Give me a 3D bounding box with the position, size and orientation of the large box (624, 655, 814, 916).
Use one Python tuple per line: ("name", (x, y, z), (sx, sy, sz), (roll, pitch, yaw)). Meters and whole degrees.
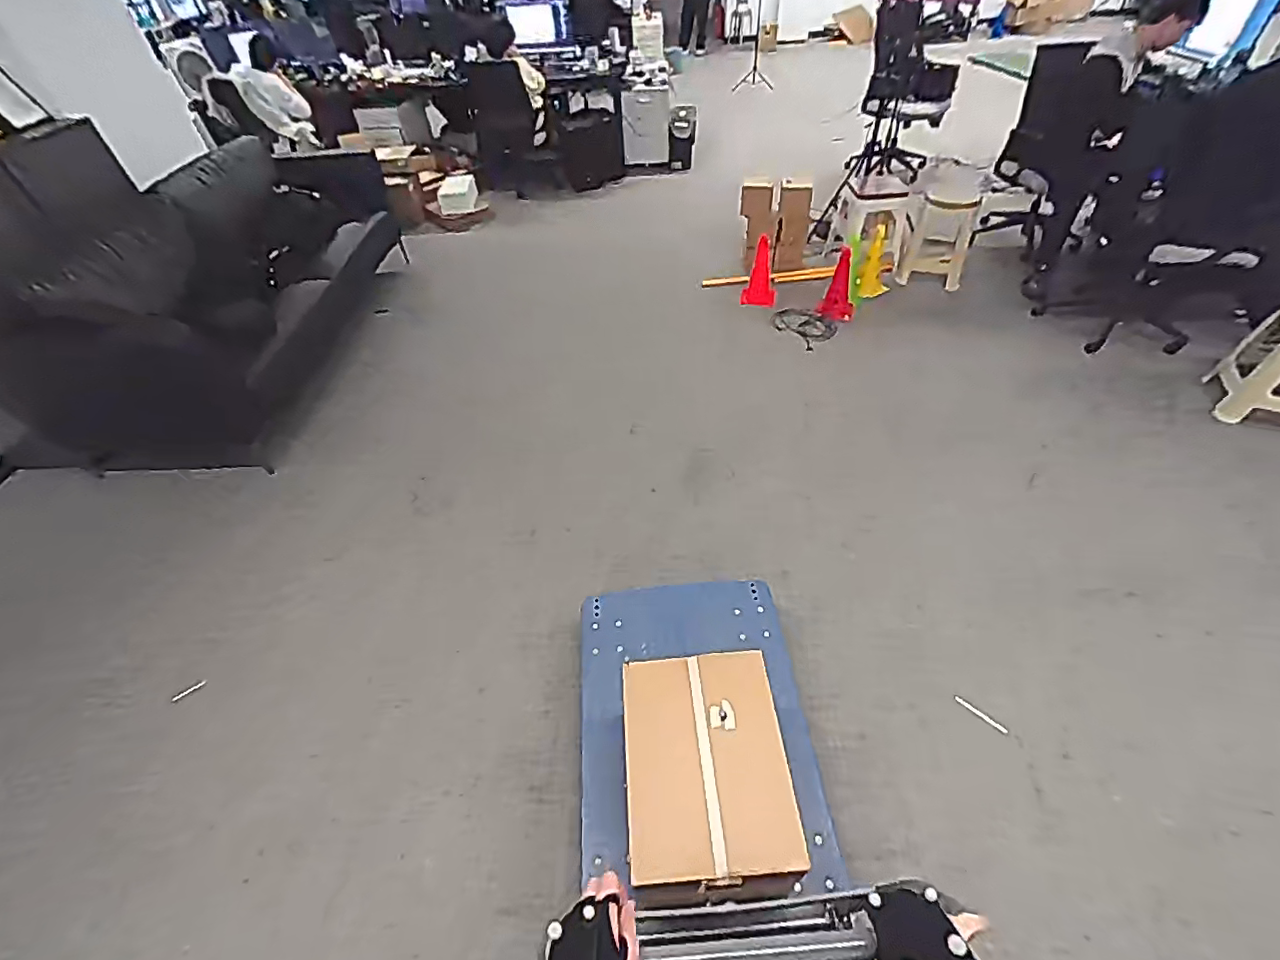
("large box", (0.146, 0.648, 1.161), (0.320, 0.320, 0.408), (-6, 45, 0))
